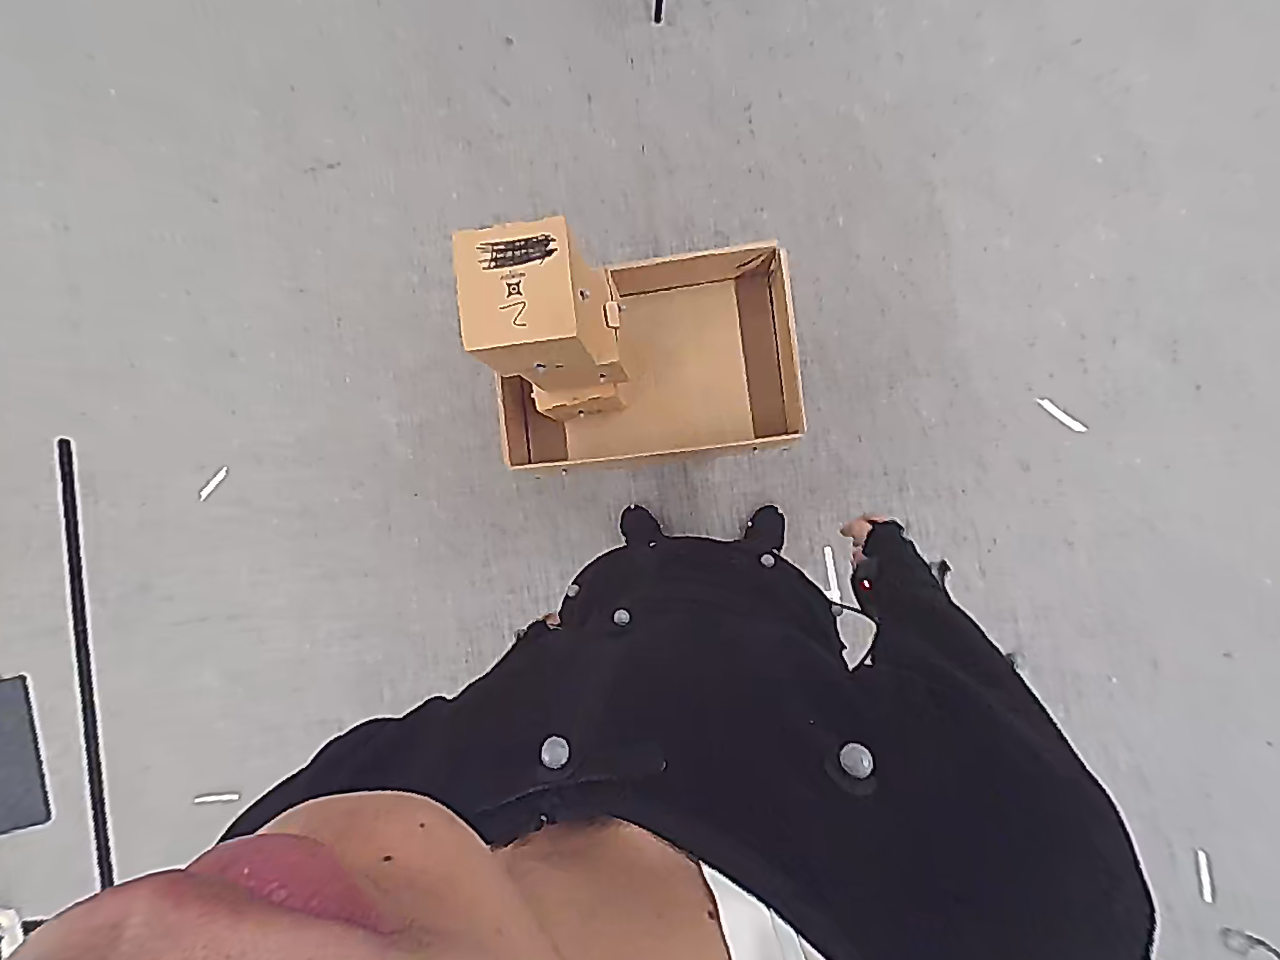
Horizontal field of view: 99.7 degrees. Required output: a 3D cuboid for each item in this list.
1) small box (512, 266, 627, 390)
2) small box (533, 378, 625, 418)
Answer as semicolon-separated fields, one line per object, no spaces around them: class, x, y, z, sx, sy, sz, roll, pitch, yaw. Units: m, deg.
small box;-0.119;-0.269;0.991;0.179;0.176;0.168;-7;88;5
small box;-0.132;-0.240;1.156;0.168;0.176;0.179;-11;88;5
